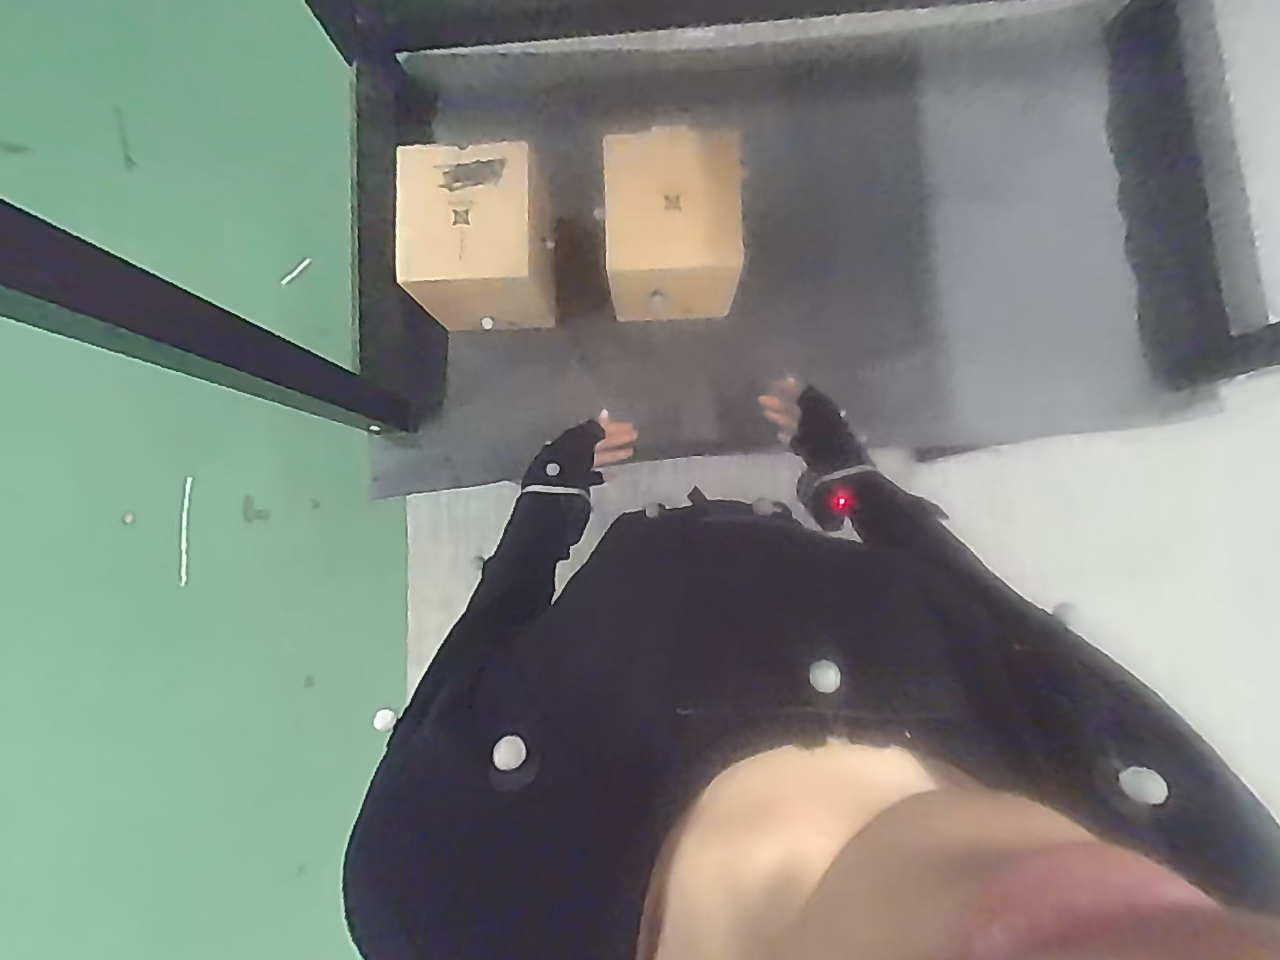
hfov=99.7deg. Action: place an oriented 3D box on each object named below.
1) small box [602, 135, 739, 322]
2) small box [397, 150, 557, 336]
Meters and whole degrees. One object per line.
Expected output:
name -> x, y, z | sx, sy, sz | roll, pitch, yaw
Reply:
small box -> 0.040, -0.325, 0.735 | 0.168, 0.176, 0.179 | -2, 84, 2
small box -> -0.212, -0.313, 0.743 | 0.168, 0.176, 0.179 | -2, 85, 2
